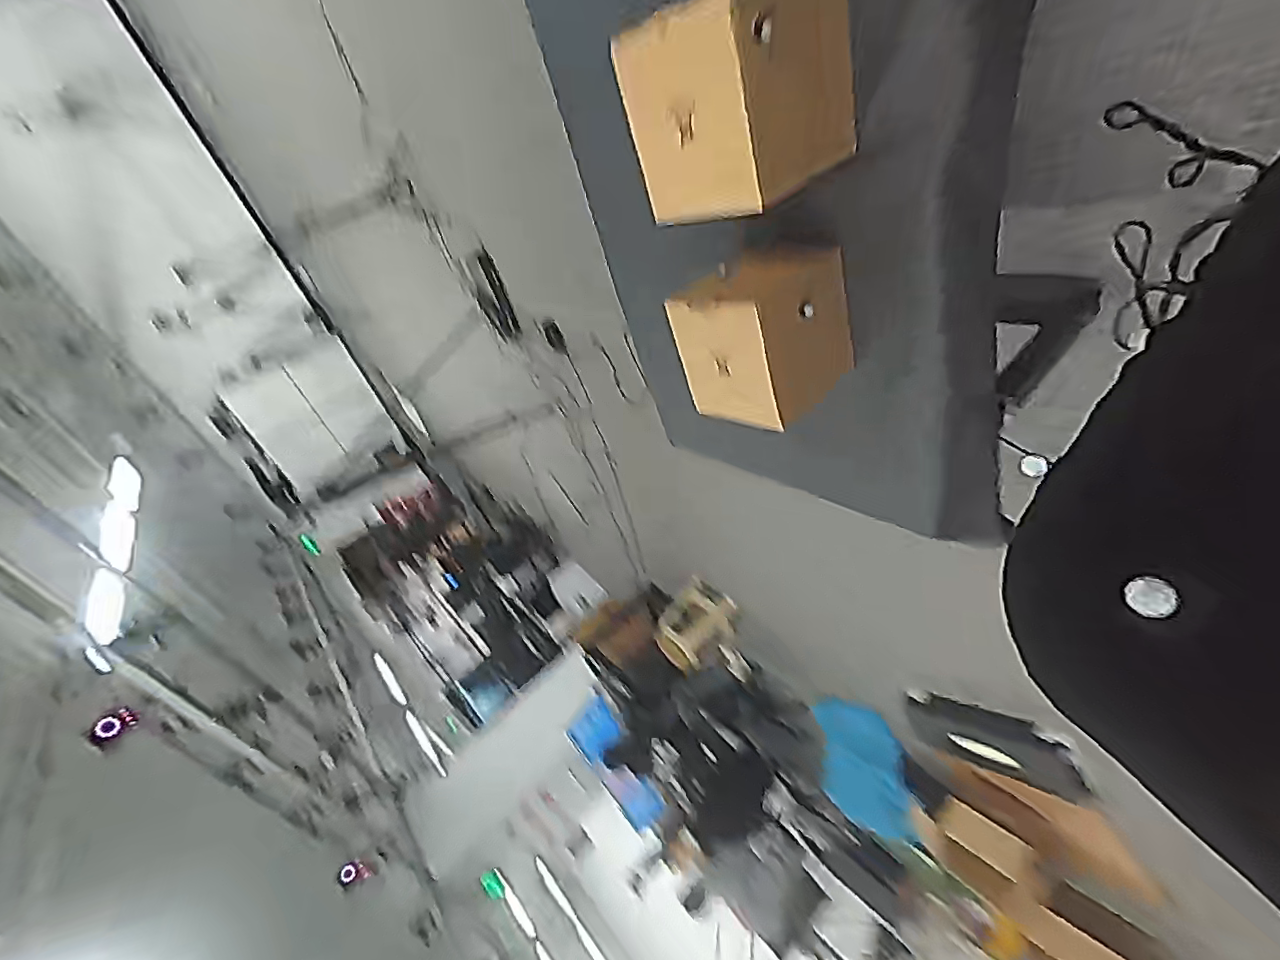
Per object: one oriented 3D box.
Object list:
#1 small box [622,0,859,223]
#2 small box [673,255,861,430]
[{"bbox_3d":[0.115,-0.401,0.581,0.168,0.176,0.179,24,143,48],"label":"small box"},{"bbox_3d":[0.179,-0.197,0.747,0.168,0.176,0.179,23,144,50],"label":"small box"}]
